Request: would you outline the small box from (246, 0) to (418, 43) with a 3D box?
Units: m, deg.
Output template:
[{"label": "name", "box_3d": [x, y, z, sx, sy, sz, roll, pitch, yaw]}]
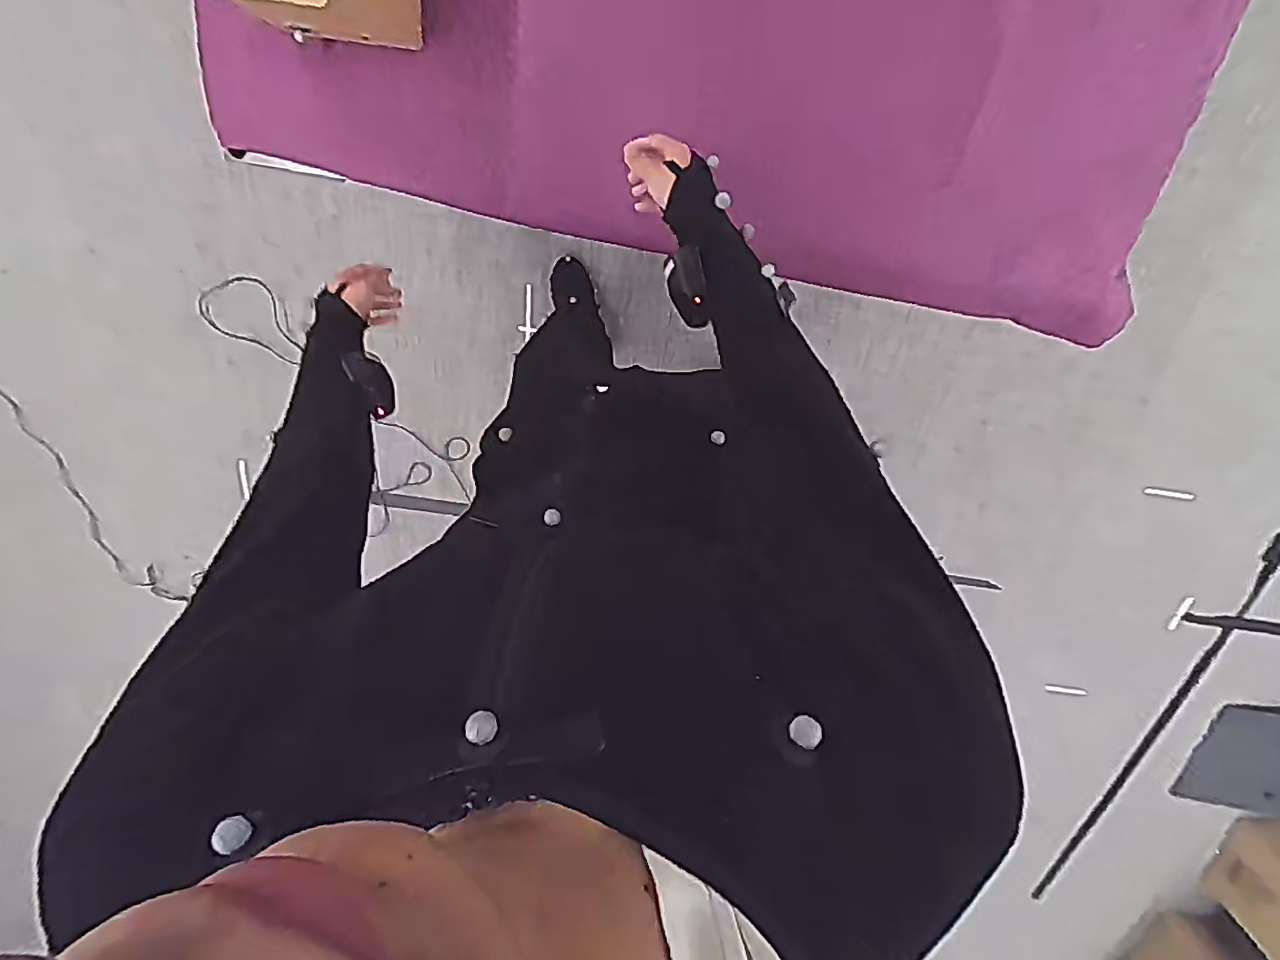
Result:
[{"label": "small box", "box_3d": [-0.337, -0.579, 0.545, 0.168, 0.176, 0.179, 6, 112, -2]}]
